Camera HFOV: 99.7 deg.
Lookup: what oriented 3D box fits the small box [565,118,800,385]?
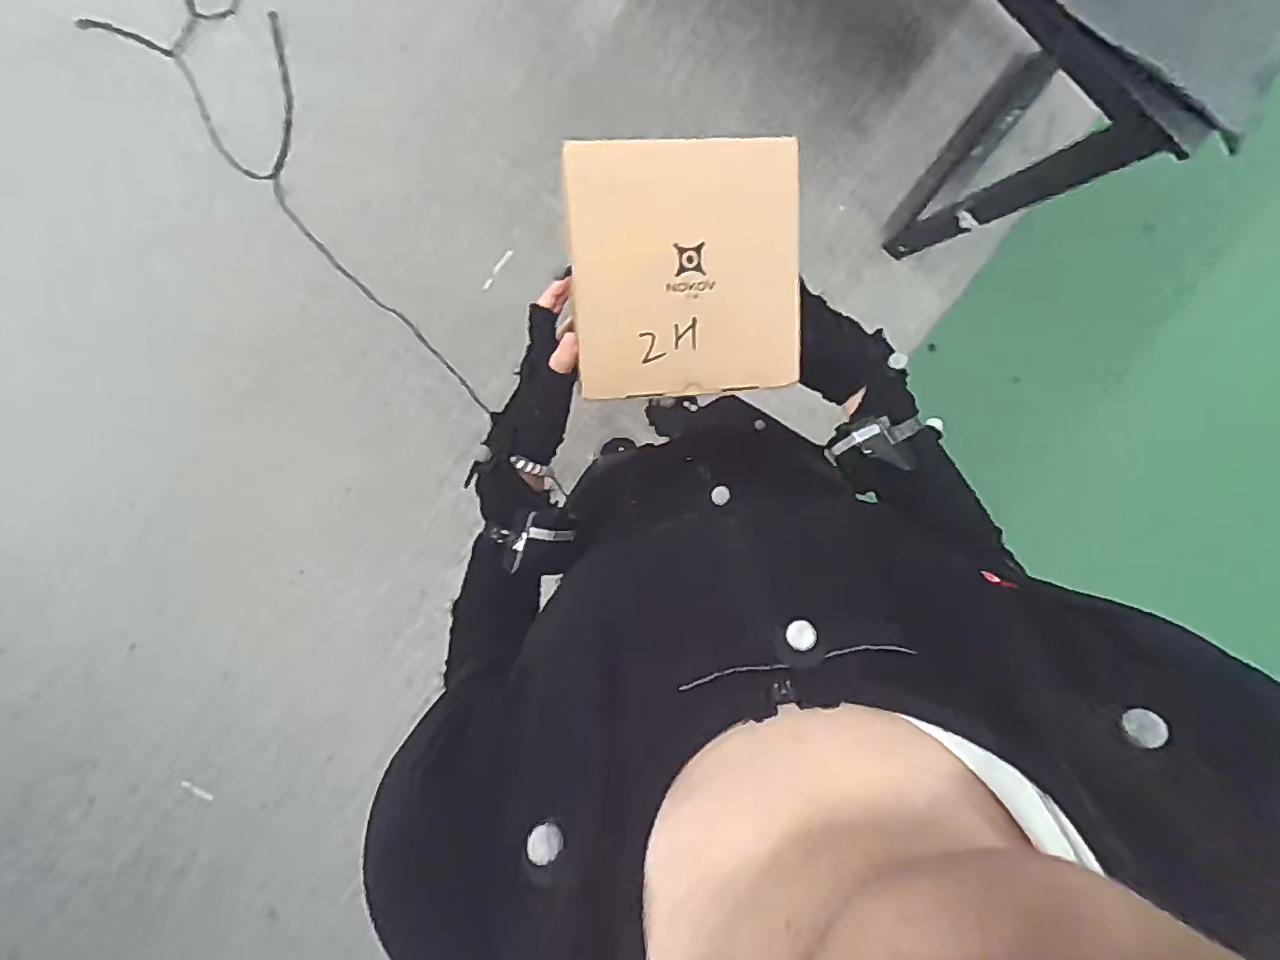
[{"bbox_3d":[0.024,-0.172,0.458,0.168,0.176,0.179,-4,101,-6],"label":"small box"}]
